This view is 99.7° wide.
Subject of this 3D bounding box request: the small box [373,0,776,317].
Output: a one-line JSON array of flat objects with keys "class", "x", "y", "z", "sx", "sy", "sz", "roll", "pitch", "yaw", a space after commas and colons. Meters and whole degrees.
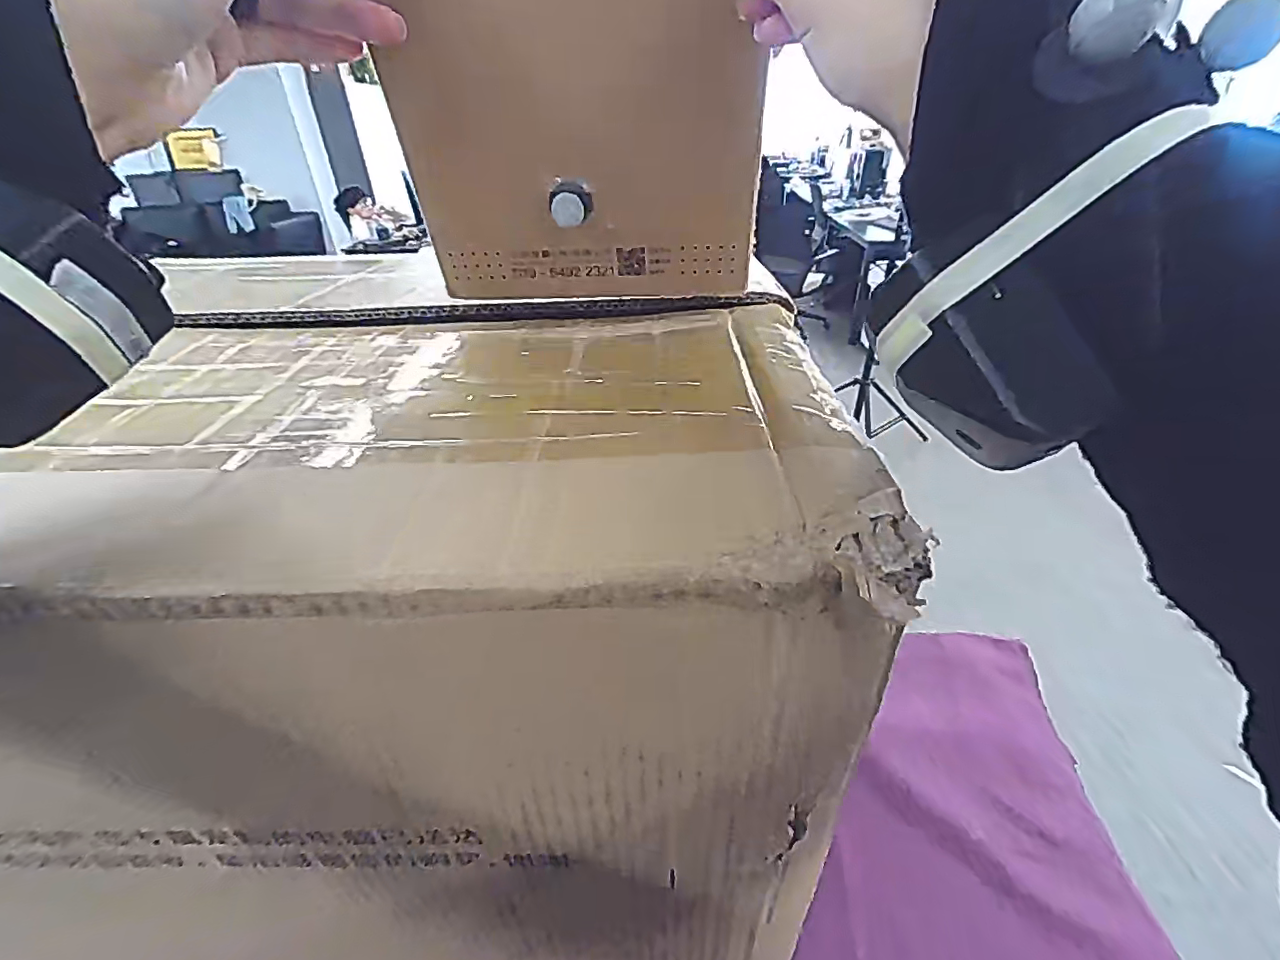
[{"class": "small box", "x": -0.022, "y": -0.210, "z": 0.302, "sx": 0.168, "sy": 0.176, "sz": 0.179, "roll": 0, "pitch": 48, "yaw": 5}]
